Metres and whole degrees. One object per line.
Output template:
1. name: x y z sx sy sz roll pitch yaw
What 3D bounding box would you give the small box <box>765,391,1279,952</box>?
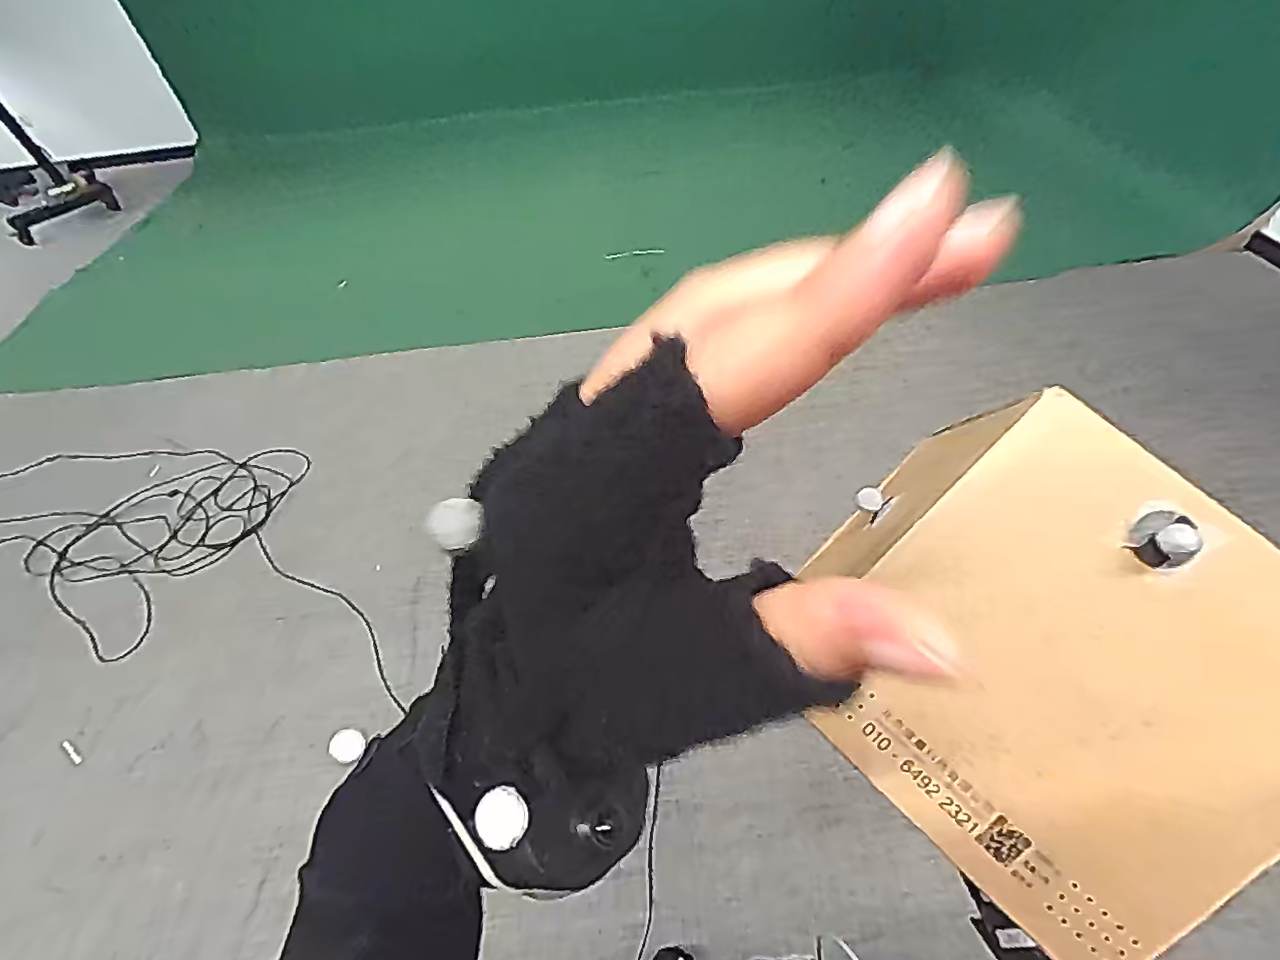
1. small box: 0.185 0.081 0.298 0.168 0.179 0.176 43 97 11
